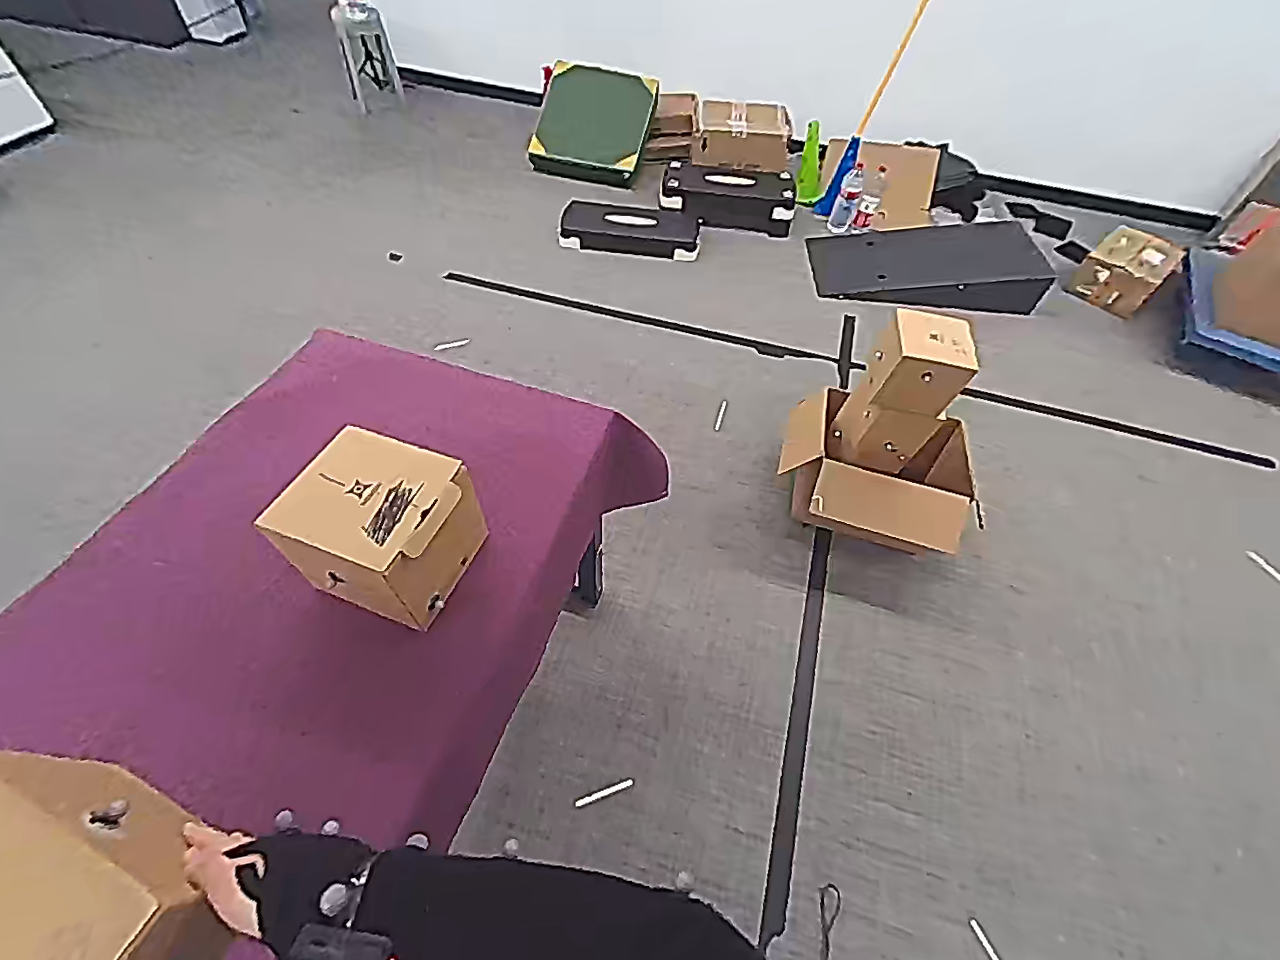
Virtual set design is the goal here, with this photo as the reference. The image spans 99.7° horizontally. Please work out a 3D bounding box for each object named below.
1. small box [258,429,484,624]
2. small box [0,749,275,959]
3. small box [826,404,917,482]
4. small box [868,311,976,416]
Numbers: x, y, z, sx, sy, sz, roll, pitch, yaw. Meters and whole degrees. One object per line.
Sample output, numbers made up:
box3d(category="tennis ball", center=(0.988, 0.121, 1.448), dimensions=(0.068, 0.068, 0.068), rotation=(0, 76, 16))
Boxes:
box3d(category="small box", center=(-0.327, 0.067, 0.704), dimensions=(0.179, 0.176, 0.168), rotation=(18, 54, 11))
box3d(category="small box", center=(-0.380, 0.290, 0.335), dimensions=(0.179, 0.176, 0.168), rotation=(29, 57, 7))
box3d(category="small box", center=(0.667, -0.105, 1.588), dimensions=(0.179, 0.176, 0.168), rotation=(0, 57, -8))
box3d(category="small box", center=(0.666, -0.275, 1.304), dimensions=(0.179, 0.176, 0.168), rotation=(12, 57, 0))
